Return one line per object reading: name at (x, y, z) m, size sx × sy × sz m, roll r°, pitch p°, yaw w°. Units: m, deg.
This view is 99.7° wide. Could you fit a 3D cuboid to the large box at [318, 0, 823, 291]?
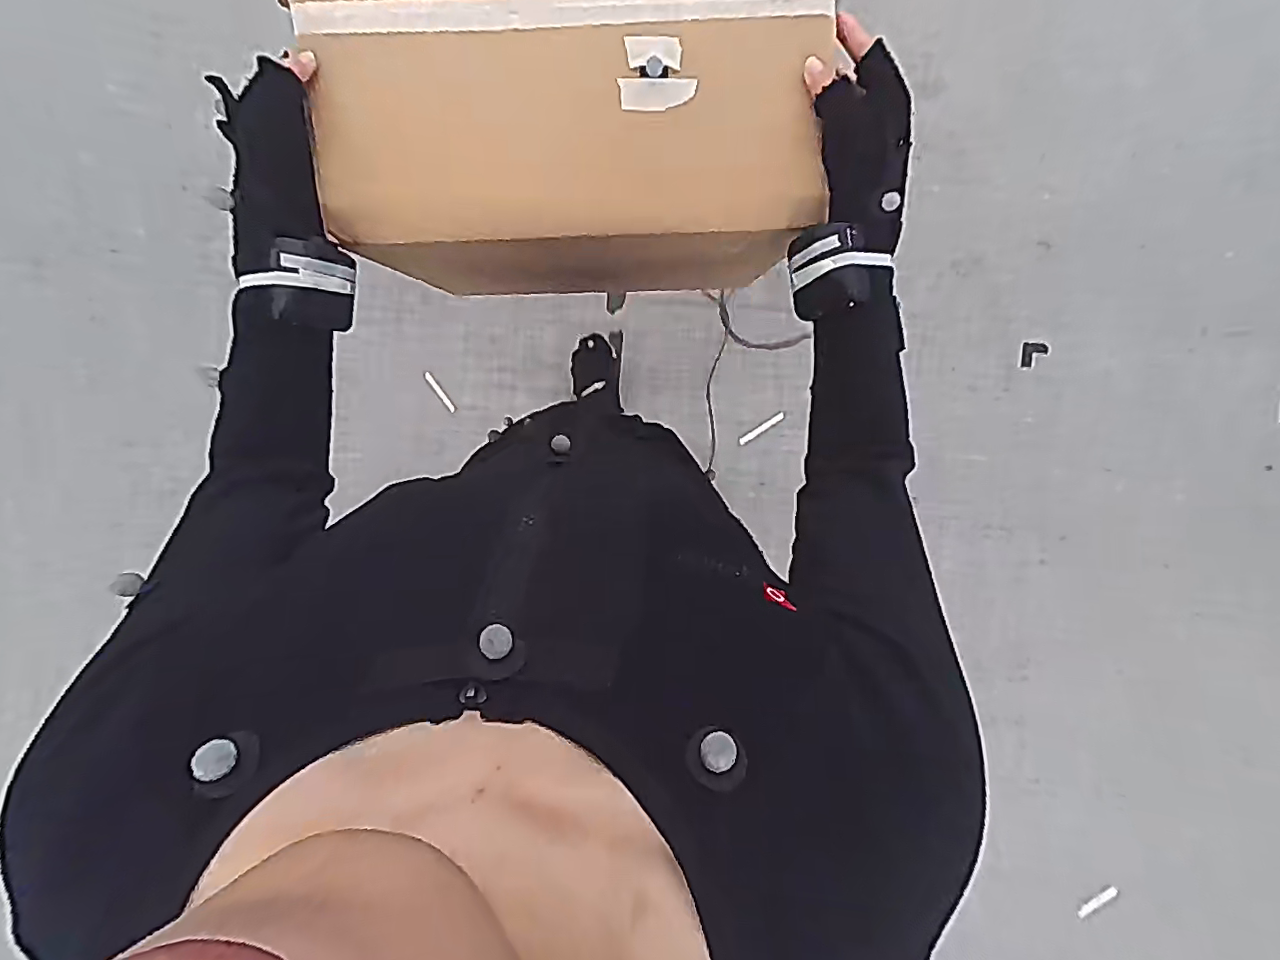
large box at (-0.057, -0.391, 0.571) m, size 0.408 × 0.320 × 0.320 m, roll -2°, pitch 102°, yaw -1°
